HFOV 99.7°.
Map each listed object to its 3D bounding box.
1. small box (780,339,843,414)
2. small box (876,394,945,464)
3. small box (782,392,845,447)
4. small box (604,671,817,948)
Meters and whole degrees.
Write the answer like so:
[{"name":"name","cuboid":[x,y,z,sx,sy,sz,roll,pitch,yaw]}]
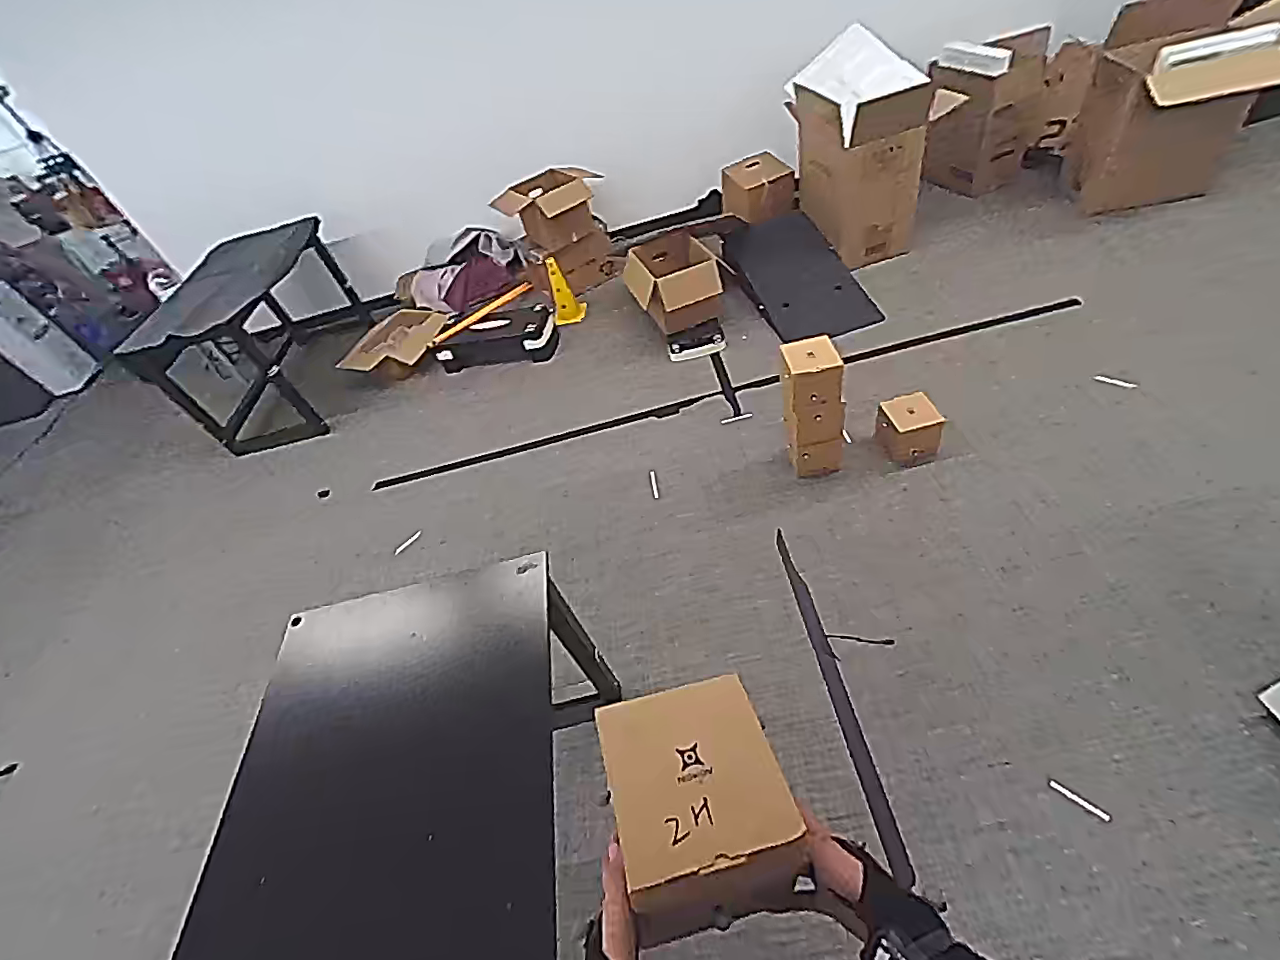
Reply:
[{"name":"small box","cuboid":[0.580,-0.352,1.849,0.168,0.176,0.179,-12,47,5]},{"name":"small box","cuboid":[1.006,-0.188,2.028,0.168,0.176,0.179,-16,47,4]},{"name":"small box","cuboid":[0.625,-0.242,1.960,0.179,0.176,0.168,-13,46,3]},{"name":"small box","cuboid":[0.061,0.340,0.570,0.168,0.176,0.179,-11,36,-8]}]
